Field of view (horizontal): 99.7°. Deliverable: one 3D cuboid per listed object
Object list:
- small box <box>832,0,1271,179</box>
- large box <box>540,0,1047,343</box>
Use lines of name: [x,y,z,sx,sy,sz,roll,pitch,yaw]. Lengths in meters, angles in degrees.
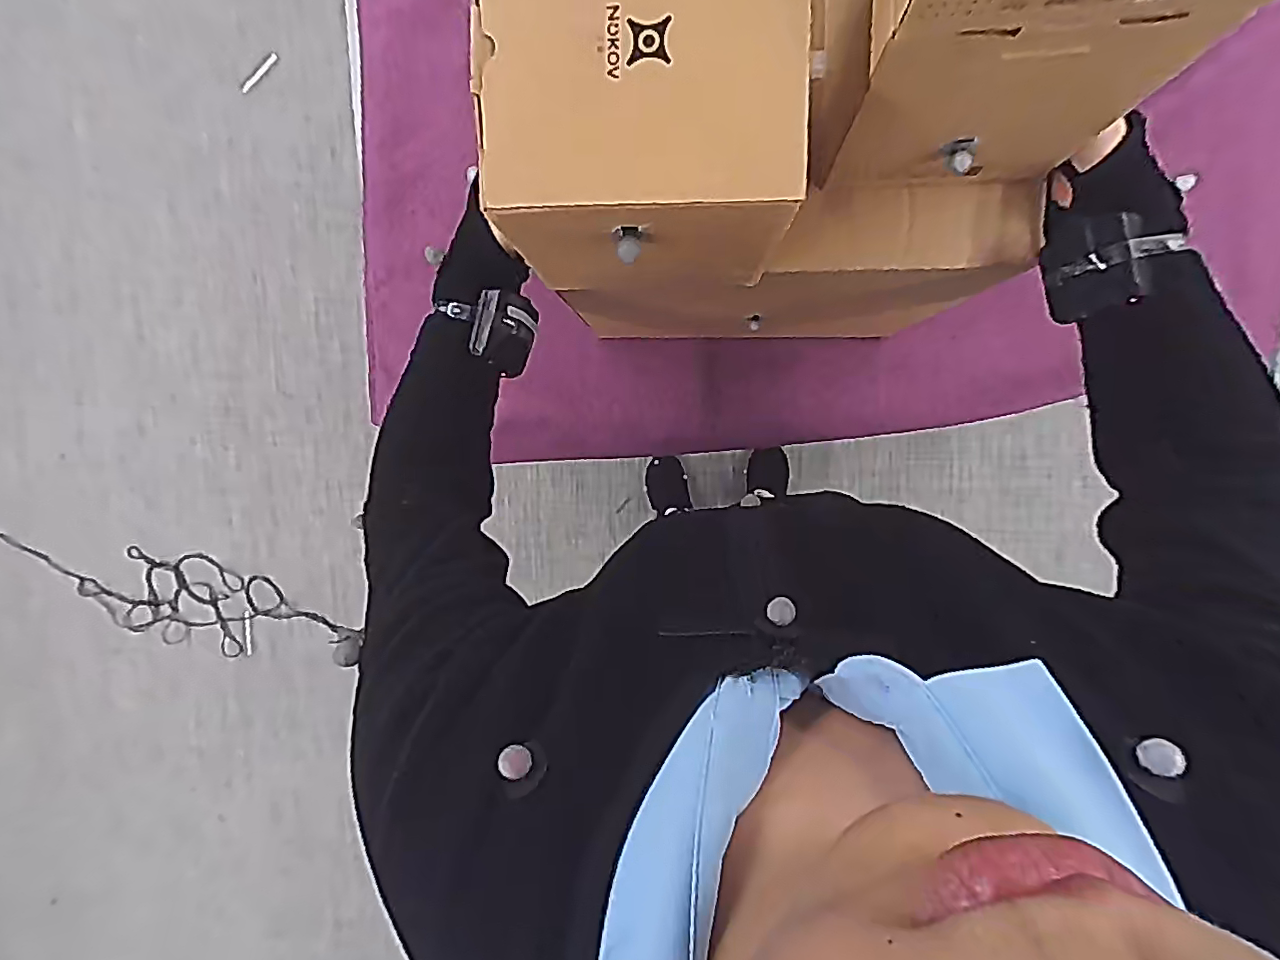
small box: [0.219,-0.311,0.323,0.168,0.176,0.179,1,94,7]
large box: [0.132,-0.332,0.578,0.408,0.320,0.320,0,93,6]
